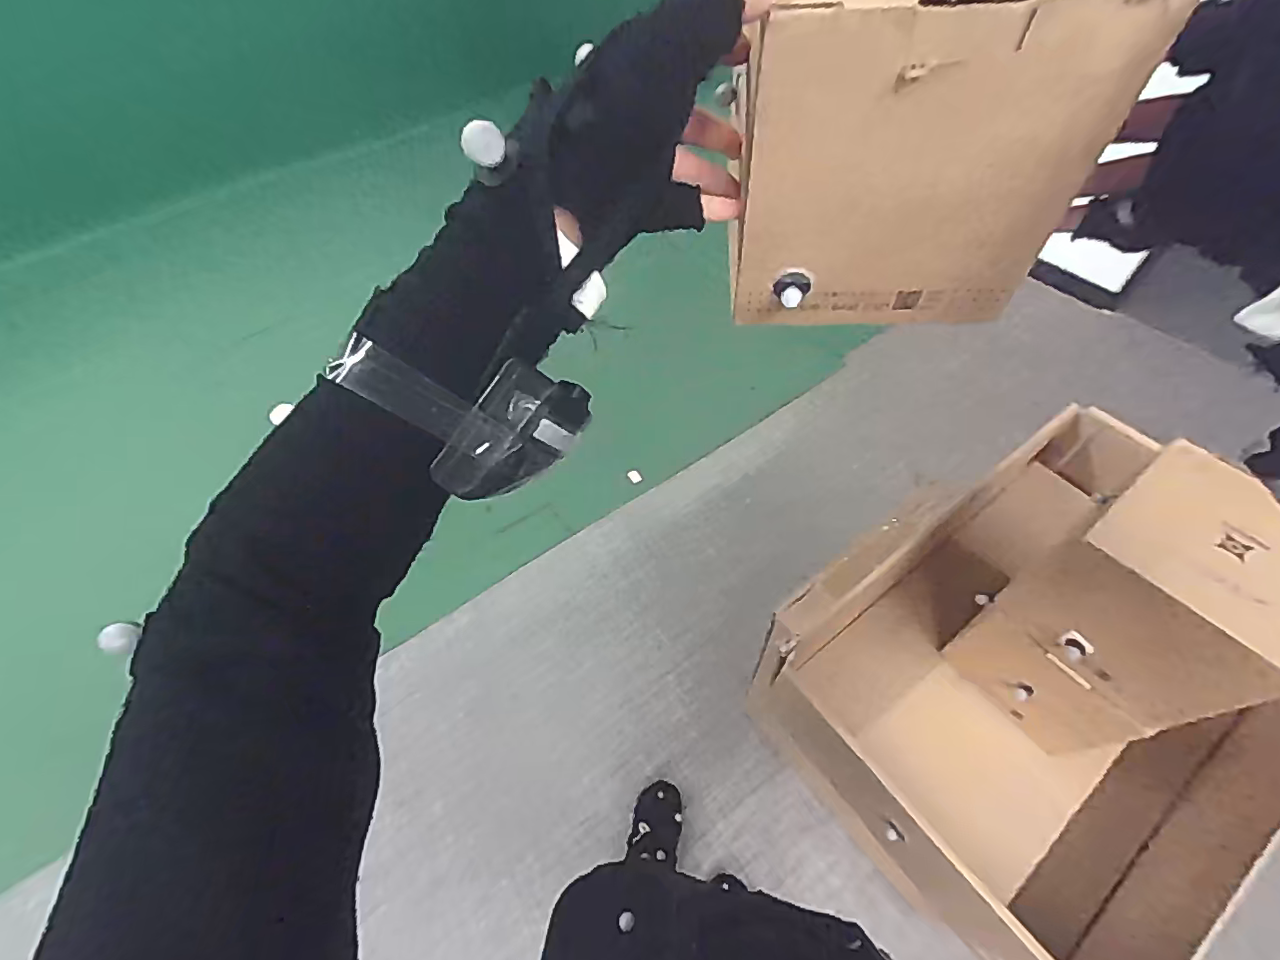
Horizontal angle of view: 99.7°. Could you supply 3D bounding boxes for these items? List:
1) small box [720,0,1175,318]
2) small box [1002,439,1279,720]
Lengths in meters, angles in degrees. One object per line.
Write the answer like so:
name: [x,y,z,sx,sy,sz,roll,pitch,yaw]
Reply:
small box: [0.137,-0.215,0.324,0.168,0.176,0.179,1,58,4]
small box: [0.504,0.100,0.528,0.179,0.176,0.168,-35,60,-18]
